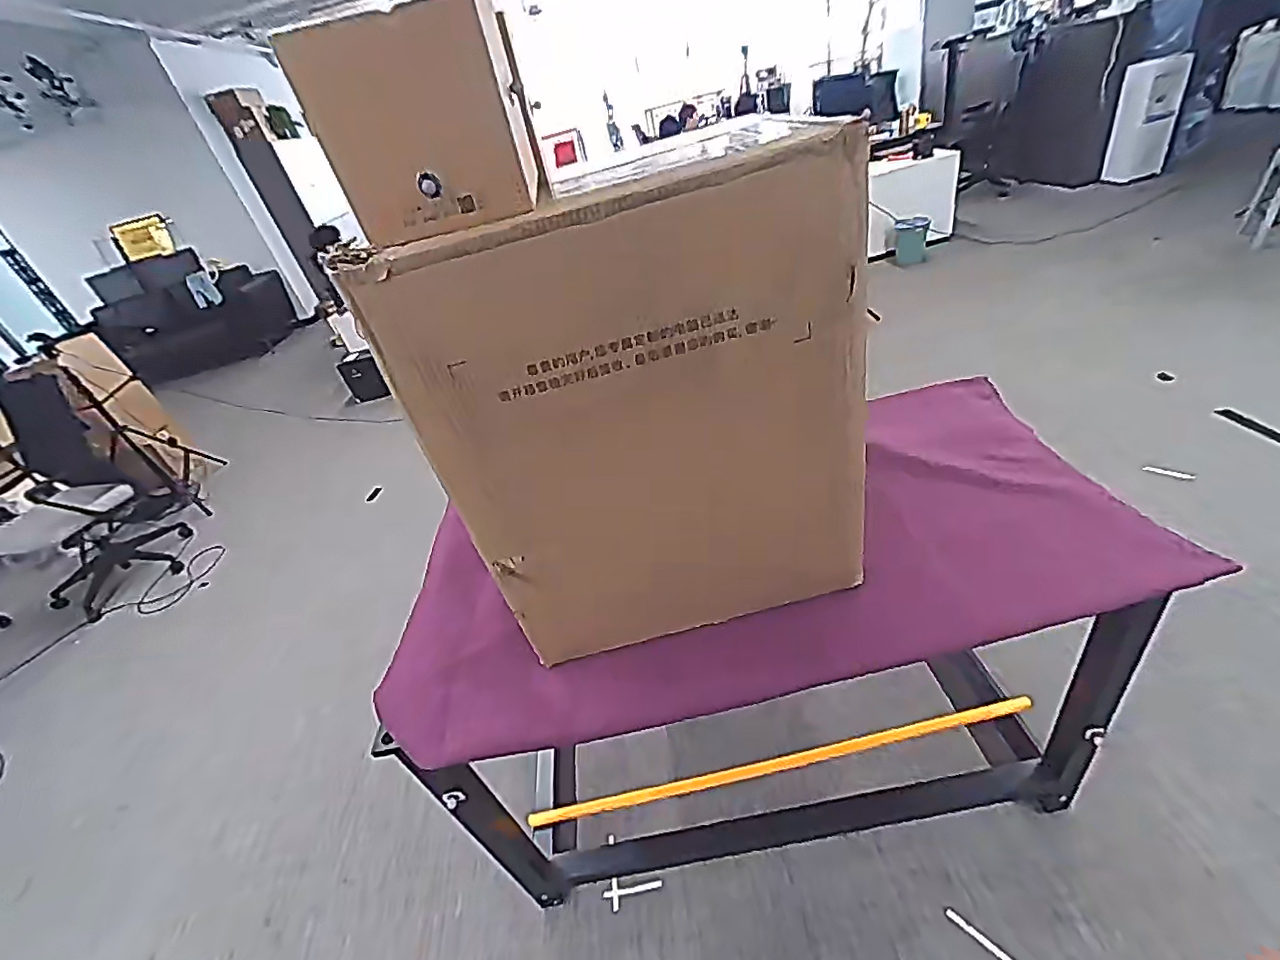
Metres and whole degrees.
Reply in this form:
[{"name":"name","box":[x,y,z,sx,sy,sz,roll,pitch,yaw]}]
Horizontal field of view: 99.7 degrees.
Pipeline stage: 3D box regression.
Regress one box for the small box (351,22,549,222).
[{"name":"small box","box":[-0.219,-0.445,0.685,0.179,0.176,0.168,-14,34,0]}]
